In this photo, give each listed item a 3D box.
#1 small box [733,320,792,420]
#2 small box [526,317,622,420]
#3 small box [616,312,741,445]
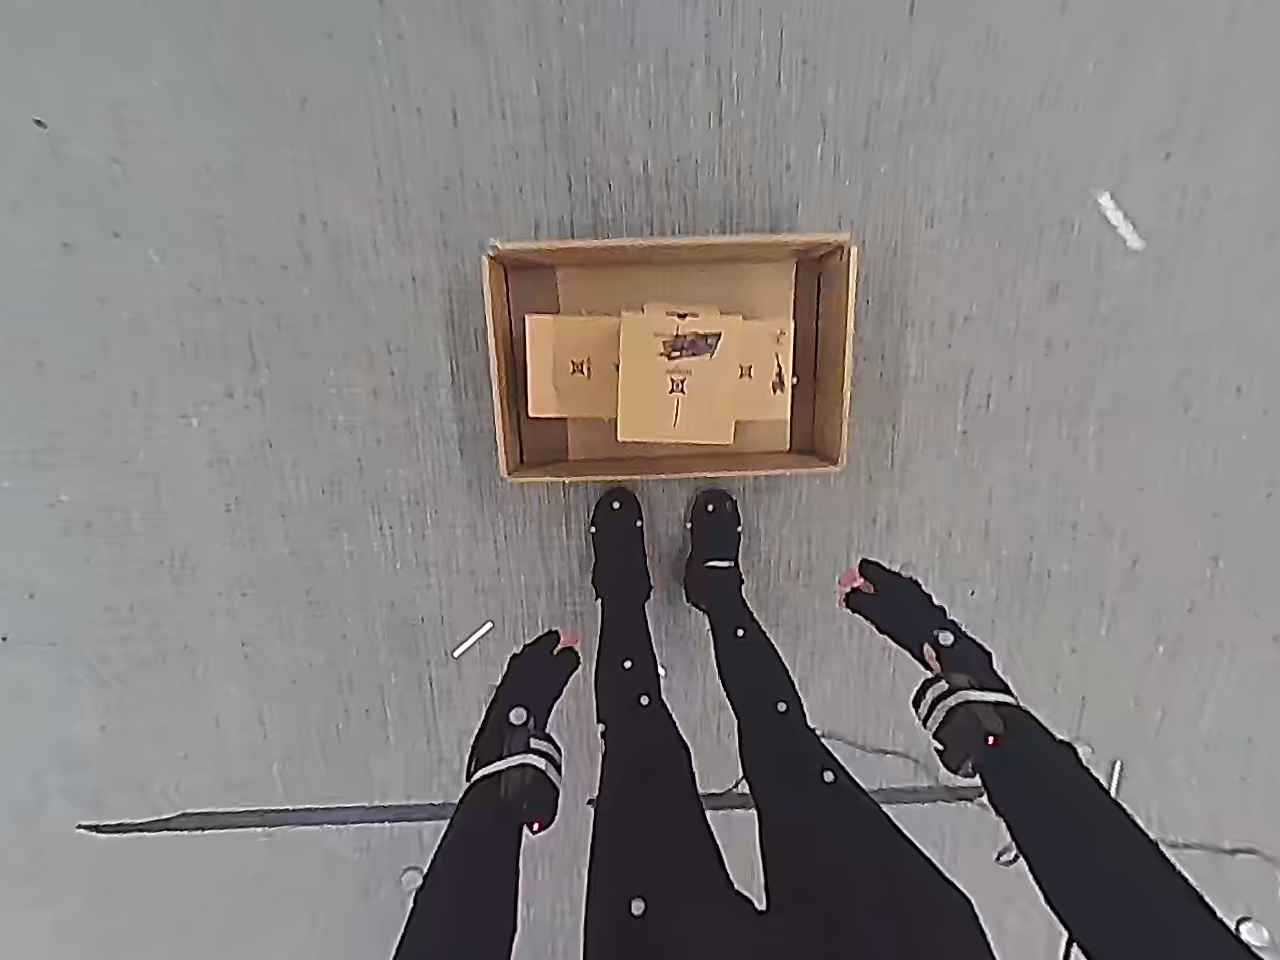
[{"bbox_3d":[0.164,-0.200,0.981,0.179,0.176,0.168,0,103,1],"label":"small box"},{"bbox_3d":[-0.104,-0.200,0.968,0.179,0.176,0.168,0,102,-2],"label":"small box"},{"bbox_3d":[0.048,-0.153,0.817,0.168,0.176,0.179,2,103,-2],"label":"small box"}]
